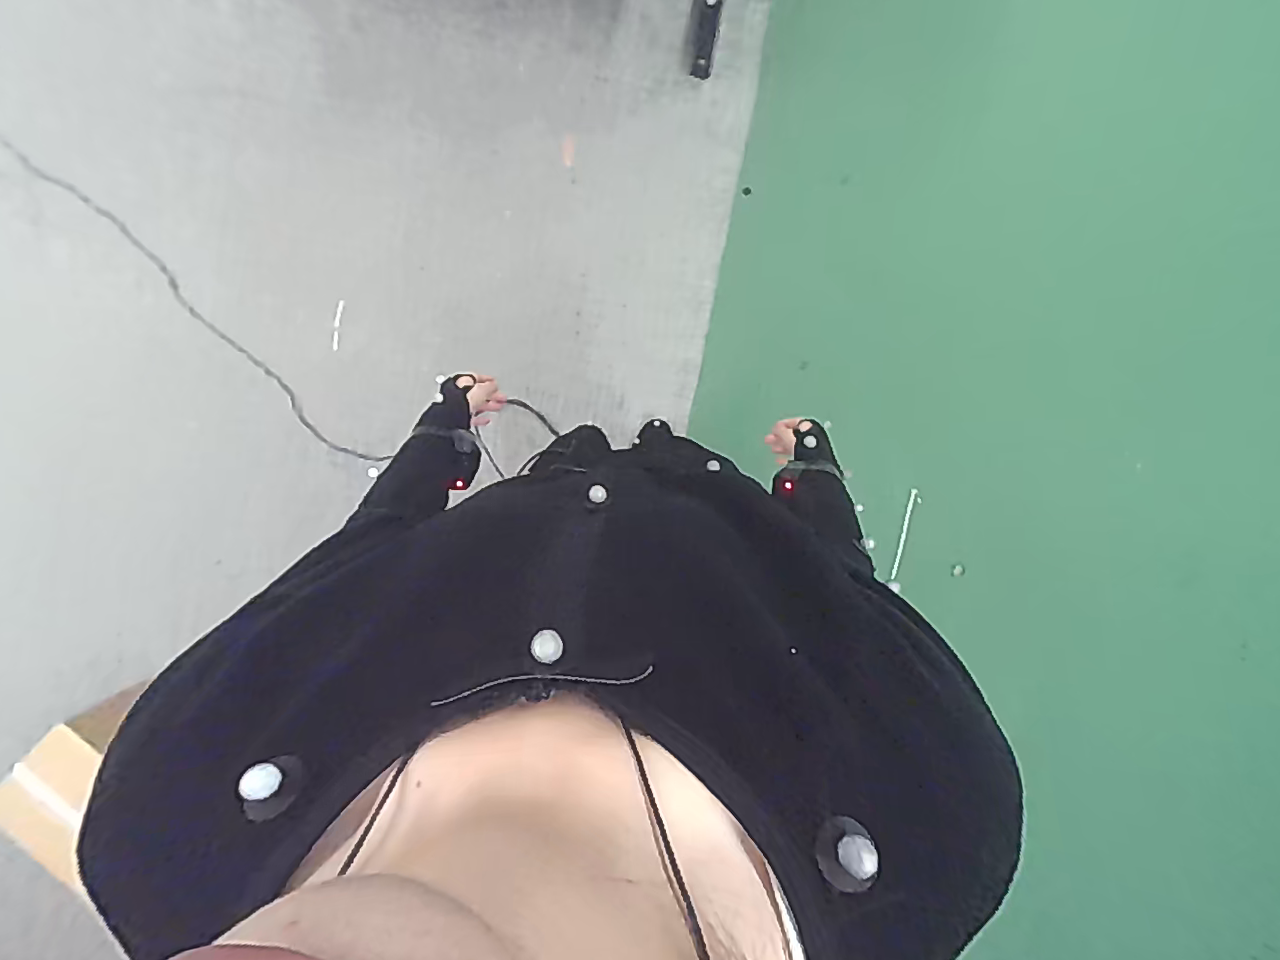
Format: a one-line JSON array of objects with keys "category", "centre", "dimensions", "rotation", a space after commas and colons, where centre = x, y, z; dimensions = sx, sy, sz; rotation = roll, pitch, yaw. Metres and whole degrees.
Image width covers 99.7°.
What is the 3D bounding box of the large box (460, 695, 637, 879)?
[{"category": "large box", "centre": [-0.221, 0.793, 1.426], "dimensions": [0.408, 0.320, 0.320], "rotation": [-3, 96, -1]}]
